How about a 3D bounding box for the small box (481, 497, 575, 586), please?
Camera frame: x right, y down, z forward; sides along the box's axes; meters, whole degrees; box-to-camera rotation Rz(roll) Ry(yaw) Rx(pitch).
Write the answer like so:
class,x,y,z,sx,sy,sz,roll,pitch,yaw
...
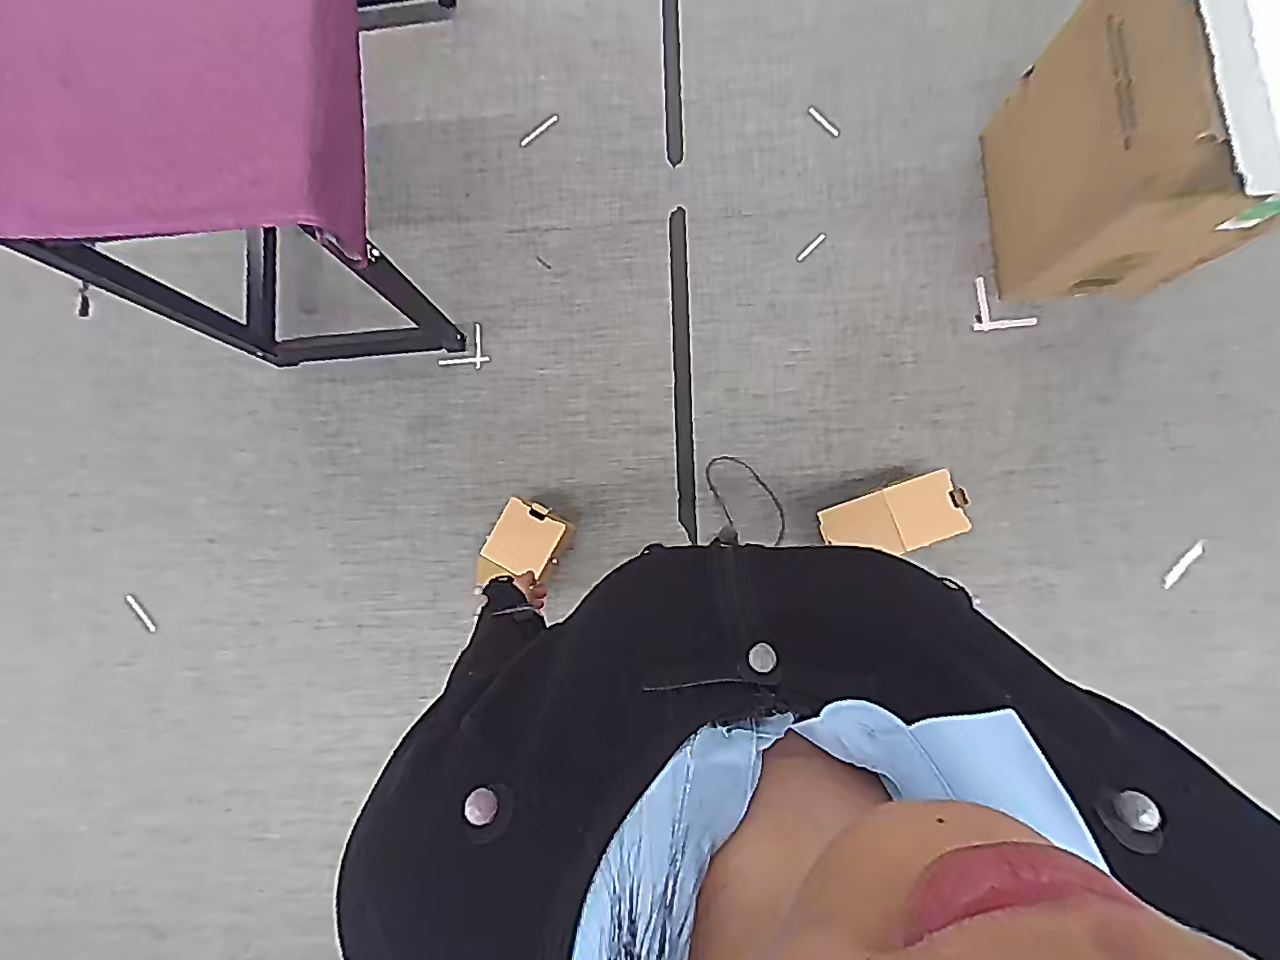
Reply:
class,x,y,z,sx,sy,sz,roll,pitch,yaw
small box,-0.289,0.163,1.449,0.168,0.176,0.179,29,86,5
